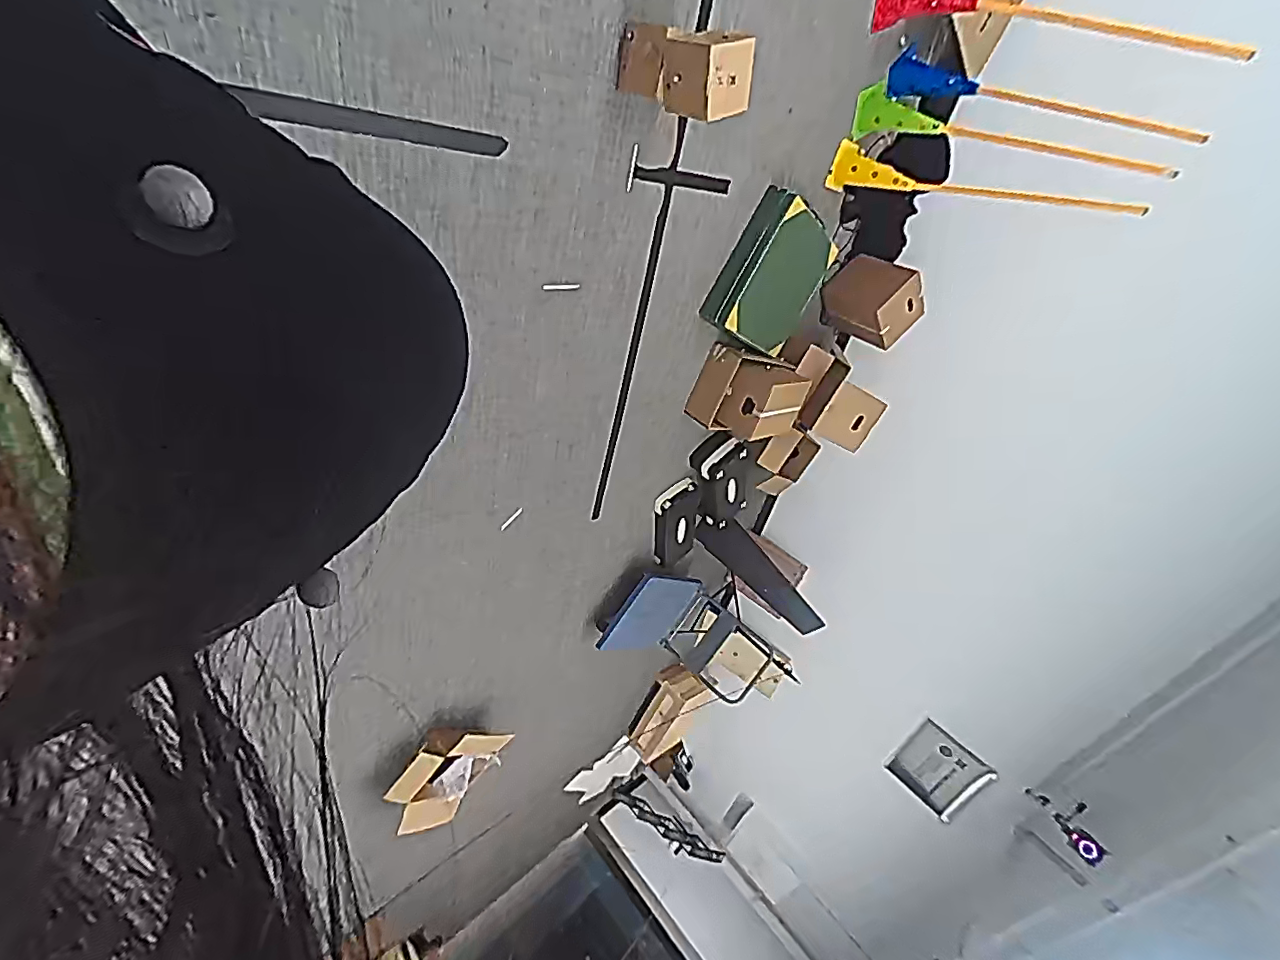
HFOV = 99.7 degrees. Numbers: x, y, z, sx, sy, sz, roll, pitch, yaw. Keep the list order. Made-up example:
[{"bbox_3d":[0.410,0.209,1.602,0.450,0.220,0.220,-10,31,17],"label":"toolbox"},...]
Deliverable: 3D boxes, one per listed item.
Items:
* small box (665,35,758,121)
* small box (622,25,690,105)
[{"bbox_3d":[0.189,-1.098,1.471,0.179,0.176,0.168,-29,142,-28],"label":"small box"},{"bbox_3d":[0.070,-1.180,1.551,0.179,0.176,0.168,-22,139,-40],"label":"small box"}]
